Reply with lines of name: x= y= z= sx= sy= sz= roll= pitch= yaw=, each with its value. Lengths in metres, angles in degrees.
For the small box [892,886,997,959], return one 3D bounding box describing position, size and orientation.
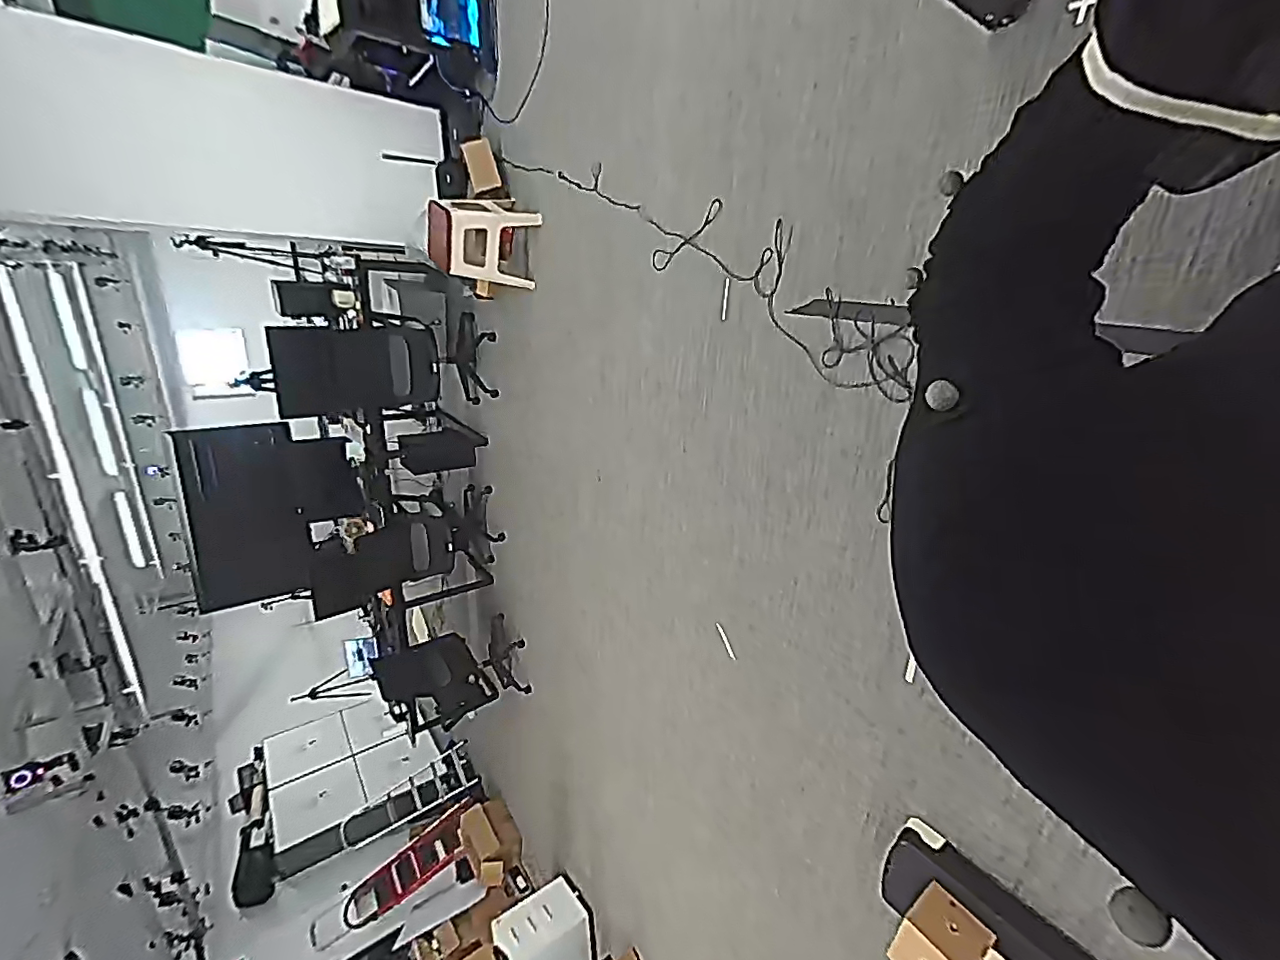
small box: x=0.804 y=1.232 z=1.425 sx=0.168 sy=0.176 sz=0.179 roll=32 pitch=125 yaw=46
